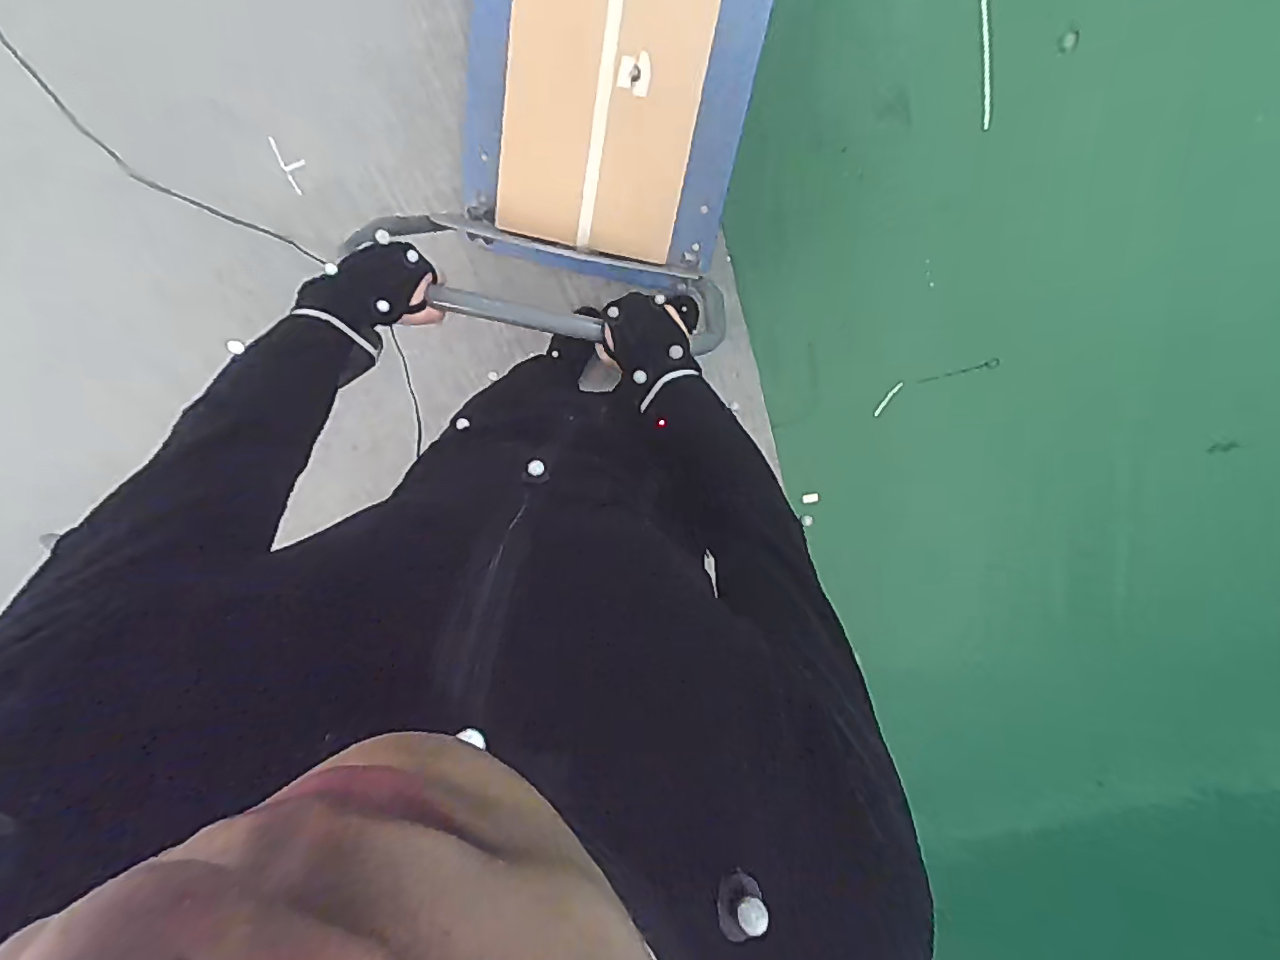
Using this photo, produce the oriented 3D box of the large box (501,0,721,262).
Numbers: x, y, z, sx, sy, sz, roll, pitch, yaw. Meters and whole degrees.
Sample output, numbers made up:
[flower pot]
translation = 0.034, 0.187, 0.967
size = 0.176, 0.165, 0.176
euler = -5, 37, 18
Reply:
[large box]
translation = -0.057, -0.657, 1.022
size = 0.320, 0.320, 0.408
euler = 11, 115, -5
